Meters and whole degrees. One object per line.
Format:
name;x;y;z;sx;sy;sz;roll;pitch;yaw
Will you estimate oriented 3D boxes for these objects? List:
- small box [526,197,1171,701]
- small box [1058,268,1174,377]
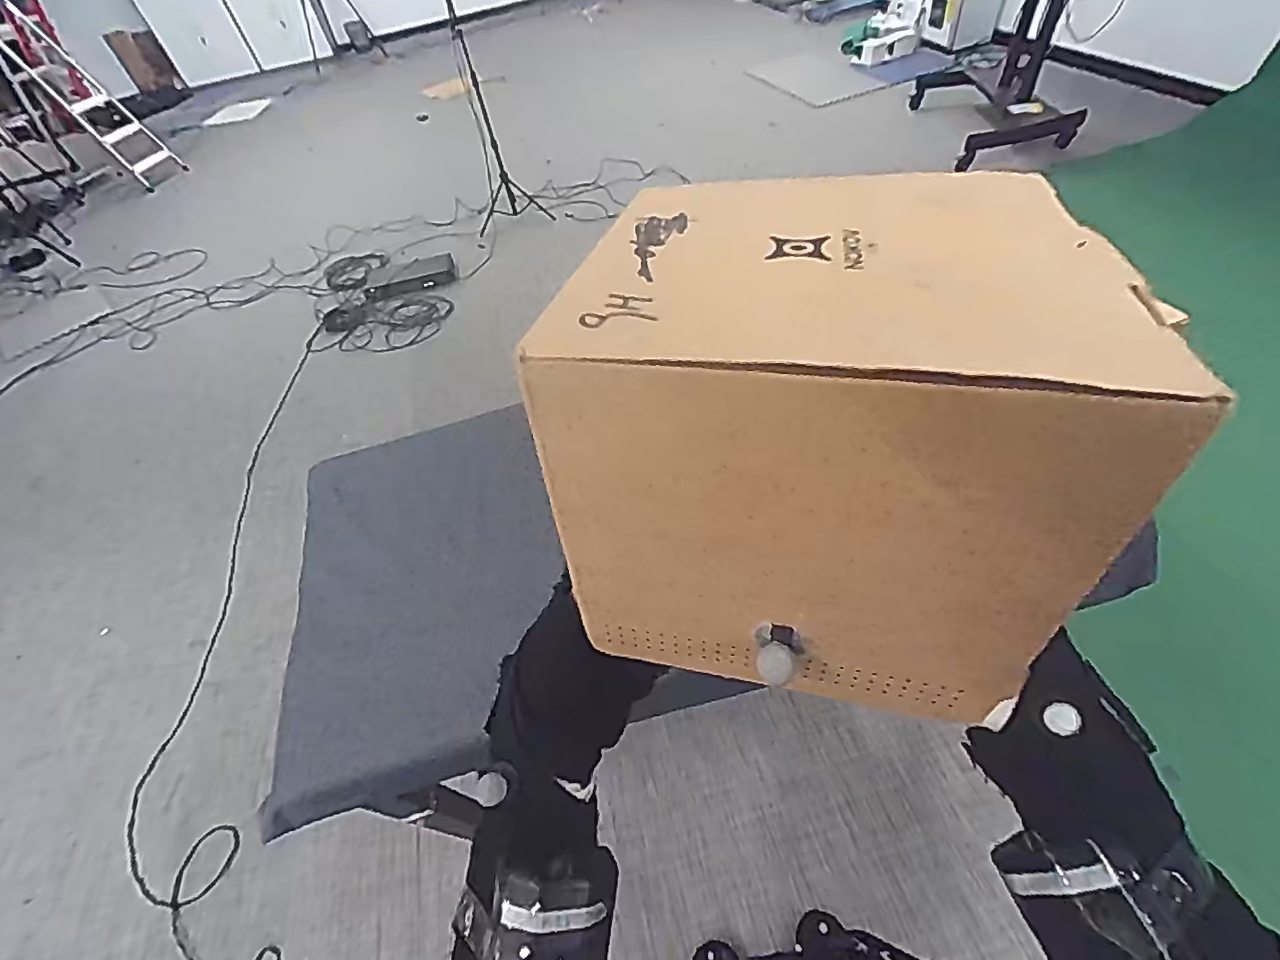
small box;0.071;-0.018;0.259;0.179;0.176;0.168;7;43;12
small box;0.430;-0.118;0.630;0.179;0.176;0.168;-19;48;-4
